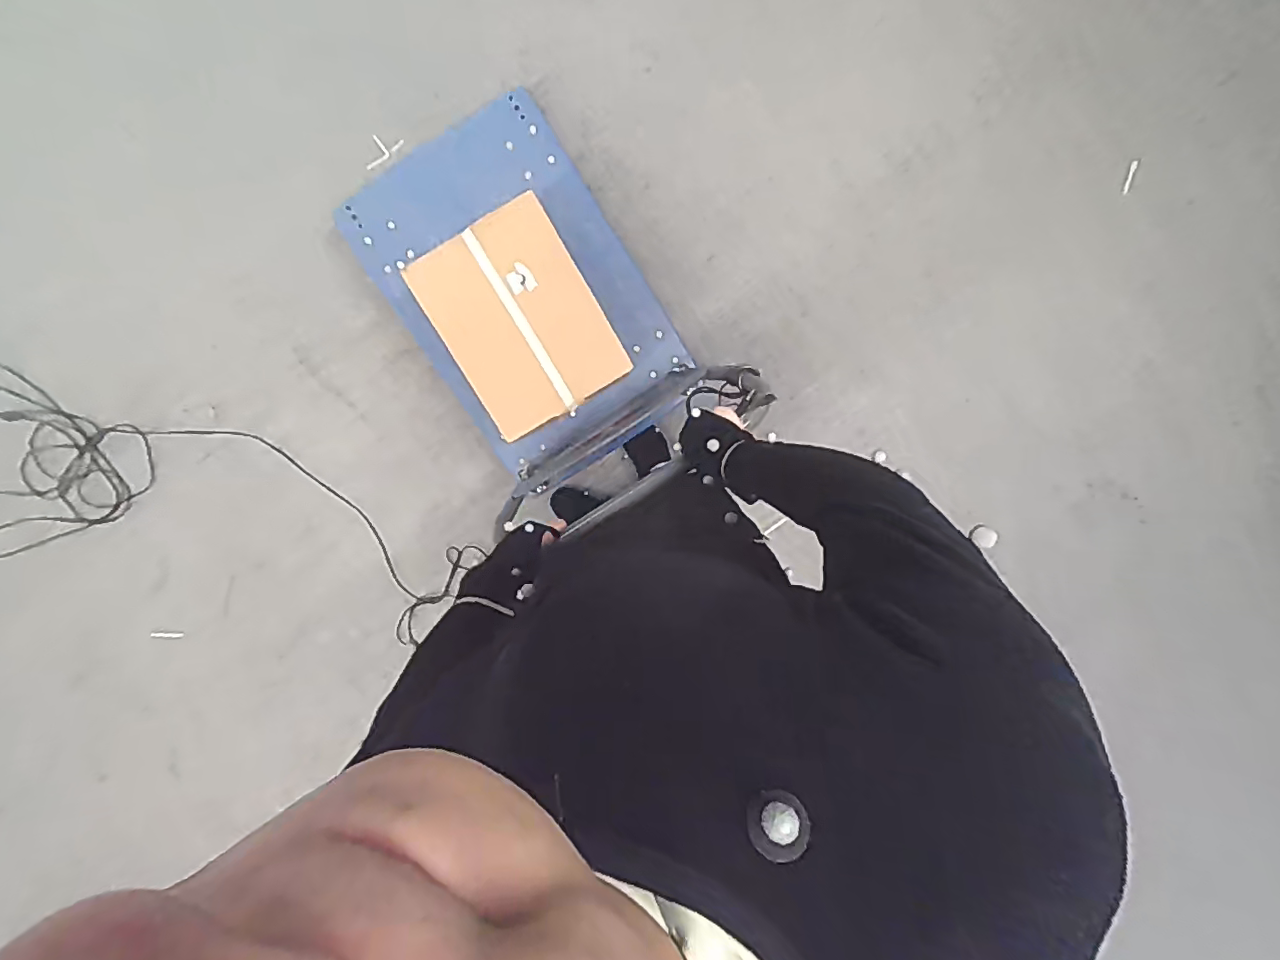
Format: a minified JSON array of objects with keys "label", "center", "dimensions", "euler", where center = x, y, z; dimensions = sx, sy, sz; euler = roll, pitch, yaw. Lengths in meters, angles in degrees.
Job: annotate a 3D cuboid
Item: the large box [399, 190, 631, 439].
[{"label":"large box","center":[-0.252,-0.347,1.233],"dimensions":[0.320,0.320,0.408],"euler":[-30,99,1]}]
